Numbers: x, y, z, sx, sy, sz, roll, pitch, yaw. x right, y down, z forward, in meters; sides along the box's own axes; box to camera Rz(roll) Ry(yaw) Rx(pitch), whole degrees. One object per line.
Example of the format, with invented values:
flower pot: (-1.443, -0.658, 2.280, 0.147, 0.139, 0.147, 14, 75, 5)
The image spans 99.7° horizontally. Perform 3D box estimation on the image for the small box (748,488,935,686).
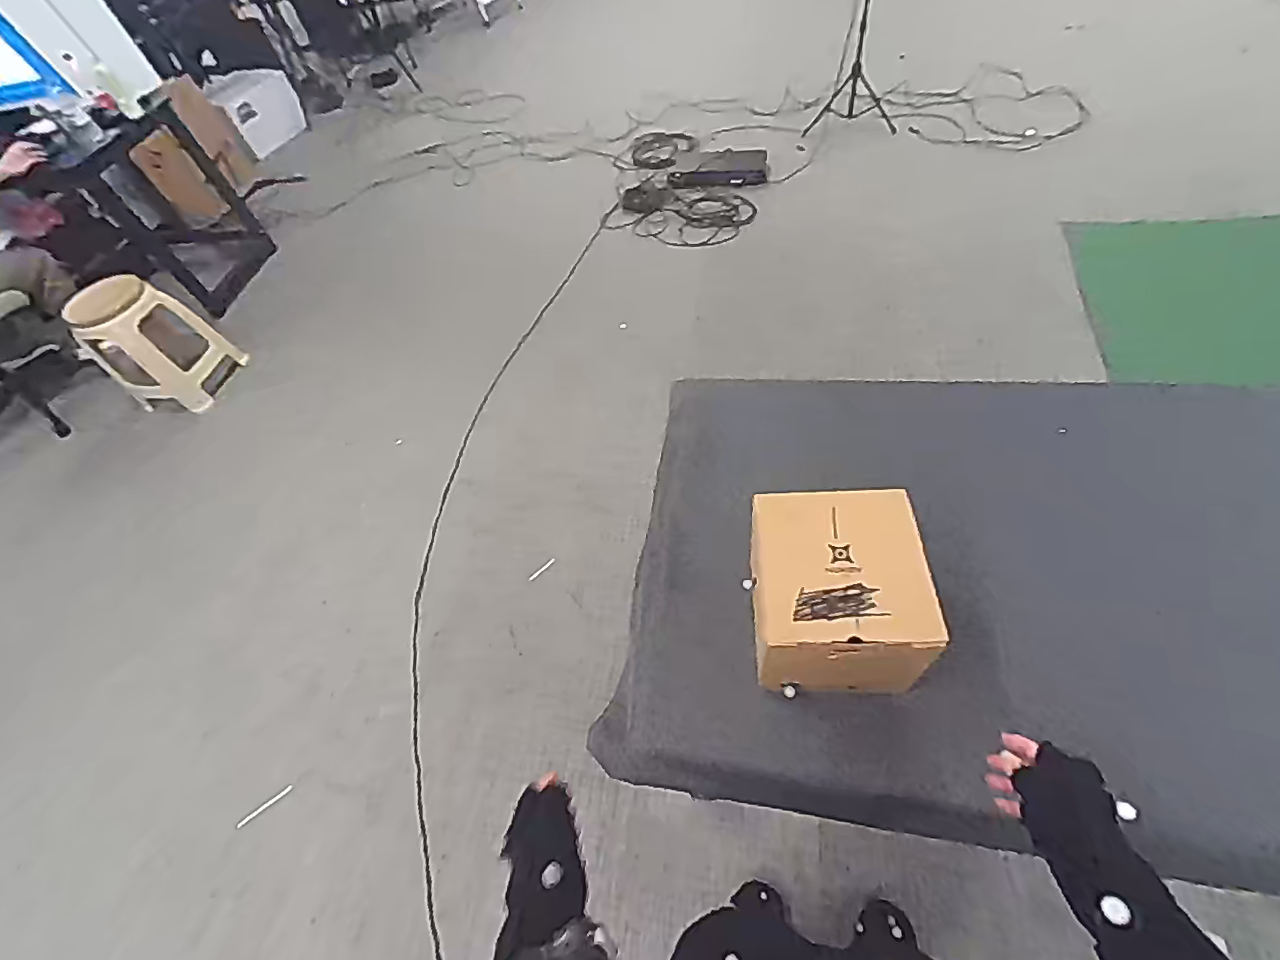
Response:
small box: (0.213, 0.129, 0.625, 0.168, 0.176, 0.179, -2, 54, 8)
